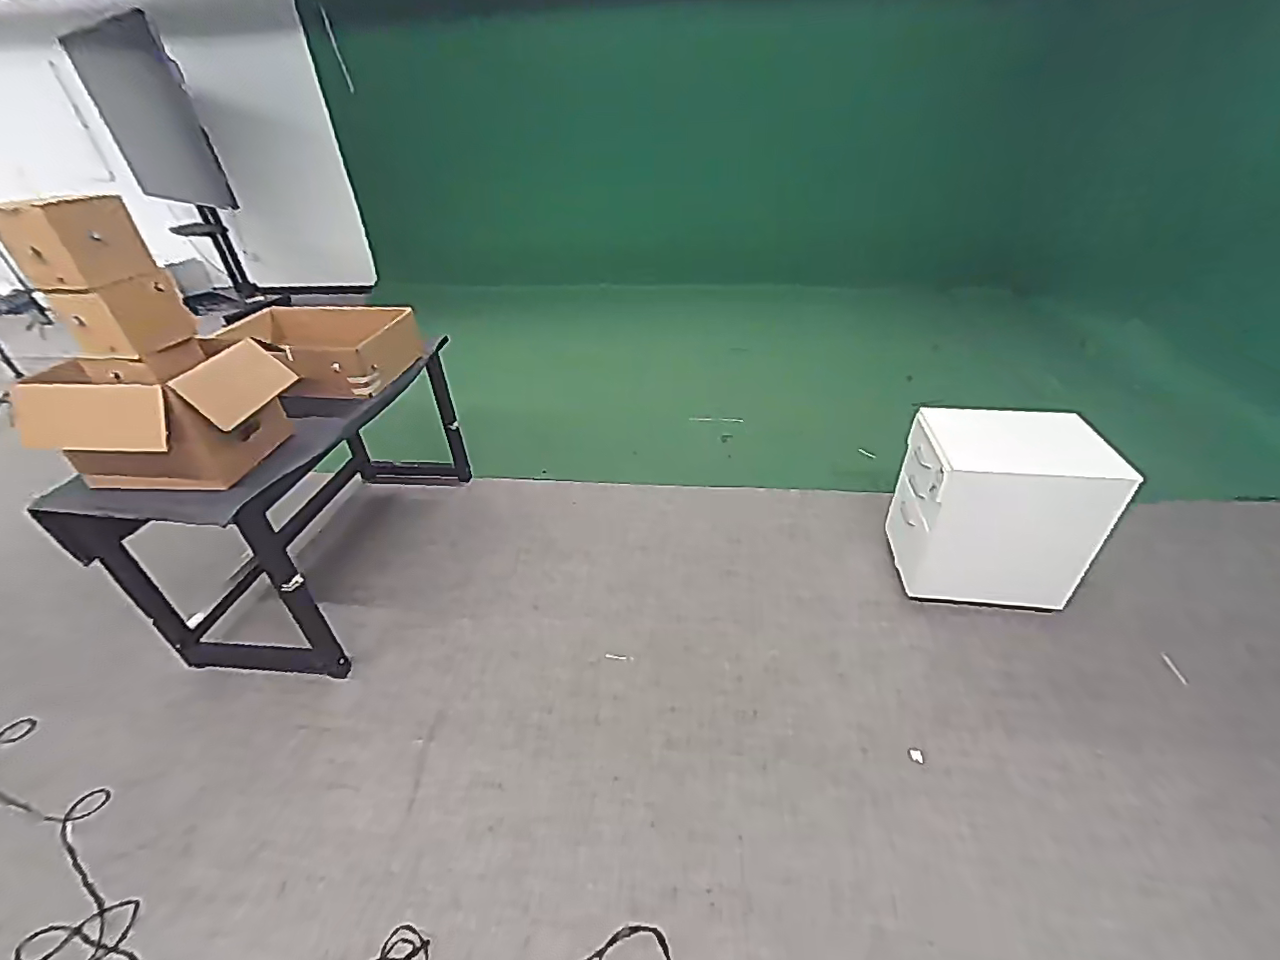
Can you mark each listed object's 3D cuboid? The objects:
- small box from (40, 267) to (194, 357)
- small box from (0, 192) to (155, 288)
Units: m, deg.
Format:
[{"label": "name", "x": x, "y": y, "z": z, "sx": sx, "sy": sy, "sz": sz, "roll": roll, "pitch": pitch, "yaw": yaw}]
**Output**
[{"label": "small box", "x": -1.251, "y": -0.407, "z": 1.310, "sx": 0.168, "sy": 0.176, "sz": 0.179, "roll": 6, "pitch": 36, "yaw": 11}, {"label": "small box", "x": -1.263, "y": -0.536, "z": 1.209, "sx": 0.168, "sy": 0.176, "sz": 0.179, "roll": 5, "pitch": 36, "yaw": 10}]
